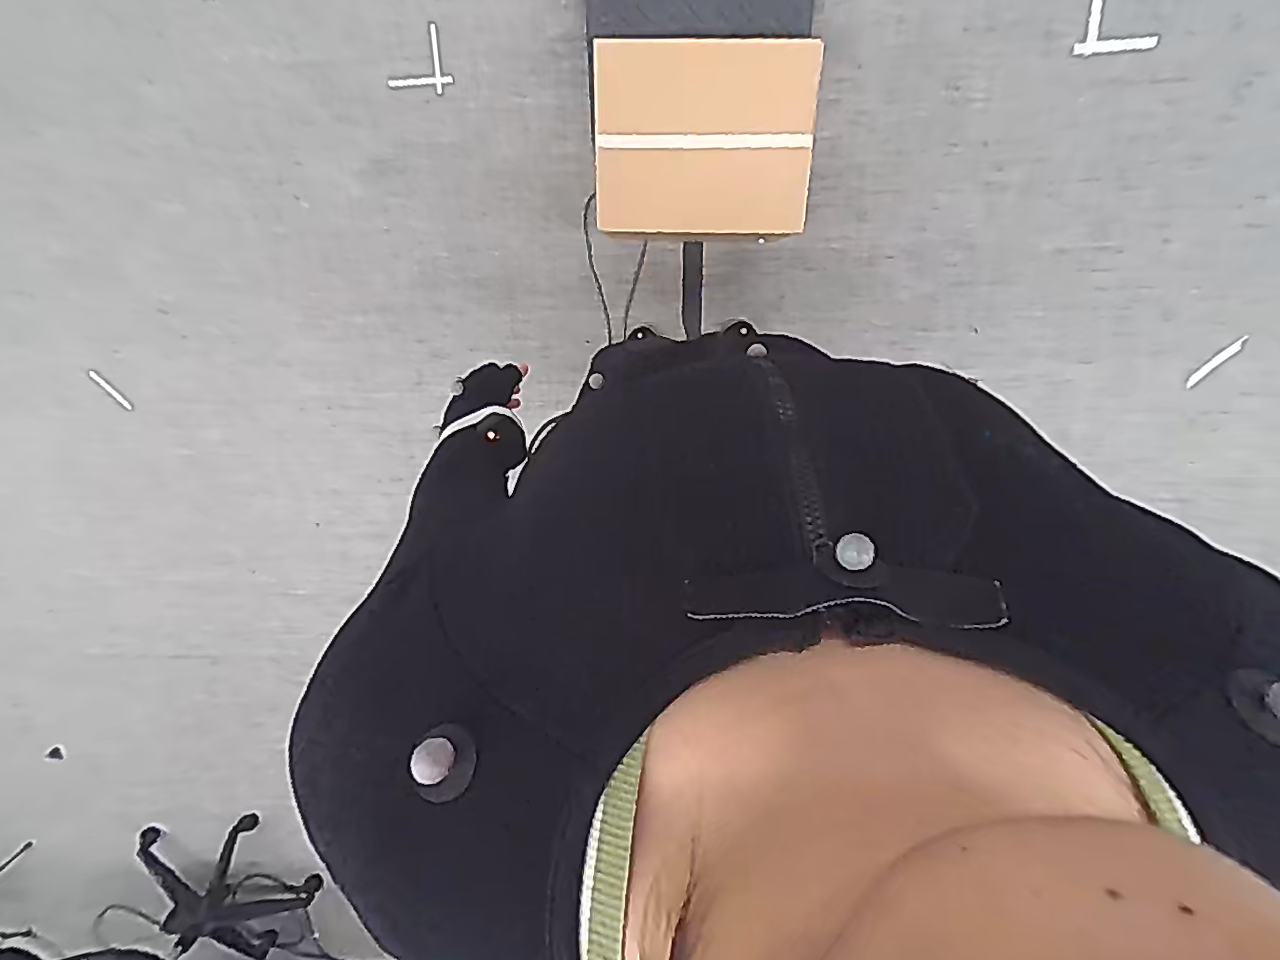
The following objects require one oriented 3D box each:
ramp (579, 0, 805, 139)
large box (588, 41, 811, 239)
[{"bbox_3d":[0.109,-1.252,1.053,0.509,0.206,0.991,-2,107,1],"label":"ramp"},{"bbox_3d":[0.111,-0.687,1.151,0.408,0.320,0.320,1,111,1],"label":"large box"}]
